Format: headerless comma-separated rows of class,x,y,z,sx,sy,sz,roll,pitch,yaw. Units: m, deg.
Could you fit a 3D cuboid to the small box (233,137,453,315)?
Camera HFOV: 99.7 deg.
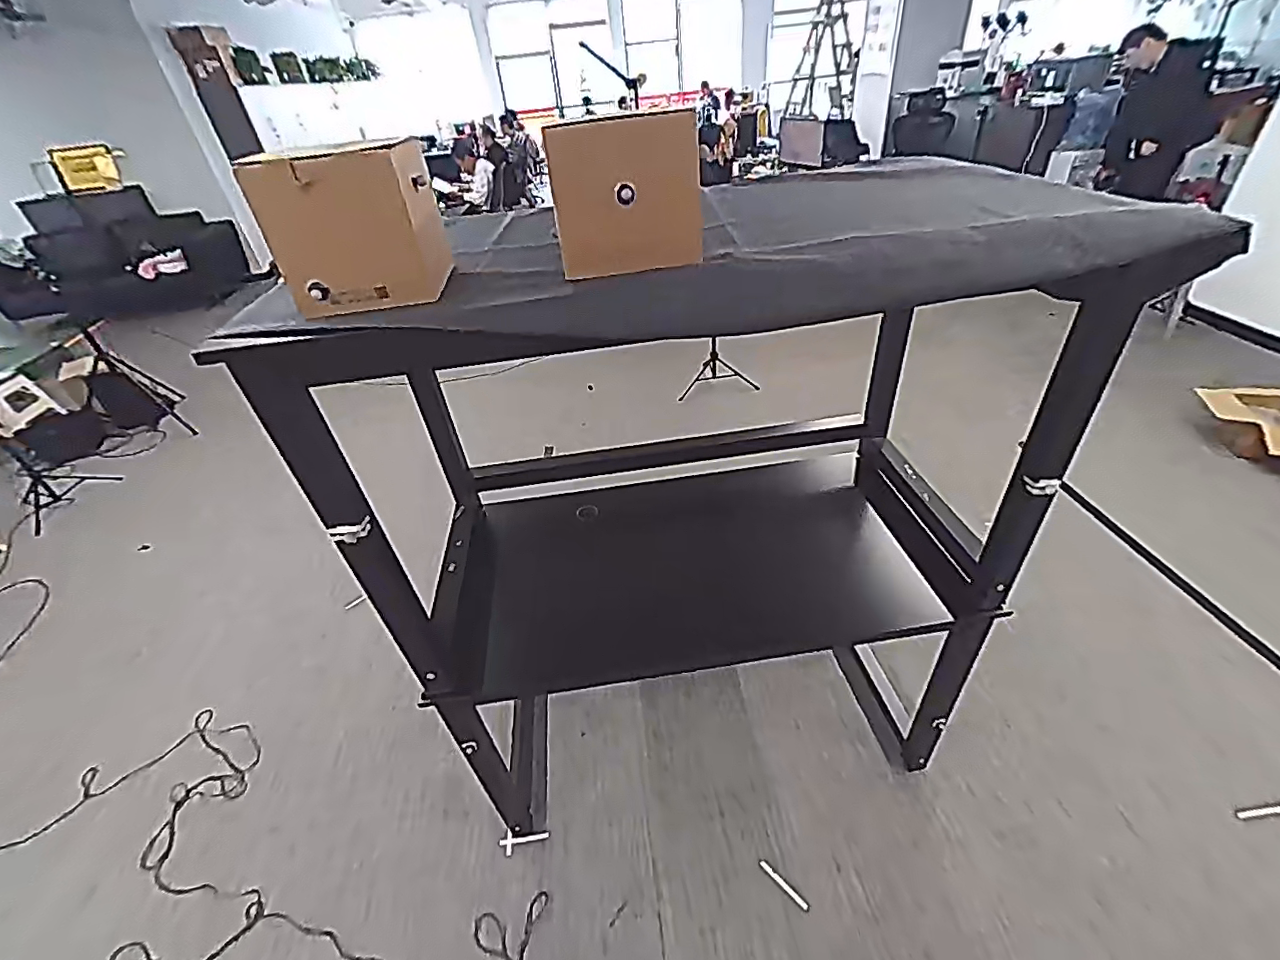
small box,-0.349,-0.316,0.681,0.168,0.176,0.179,-9,37,-4
